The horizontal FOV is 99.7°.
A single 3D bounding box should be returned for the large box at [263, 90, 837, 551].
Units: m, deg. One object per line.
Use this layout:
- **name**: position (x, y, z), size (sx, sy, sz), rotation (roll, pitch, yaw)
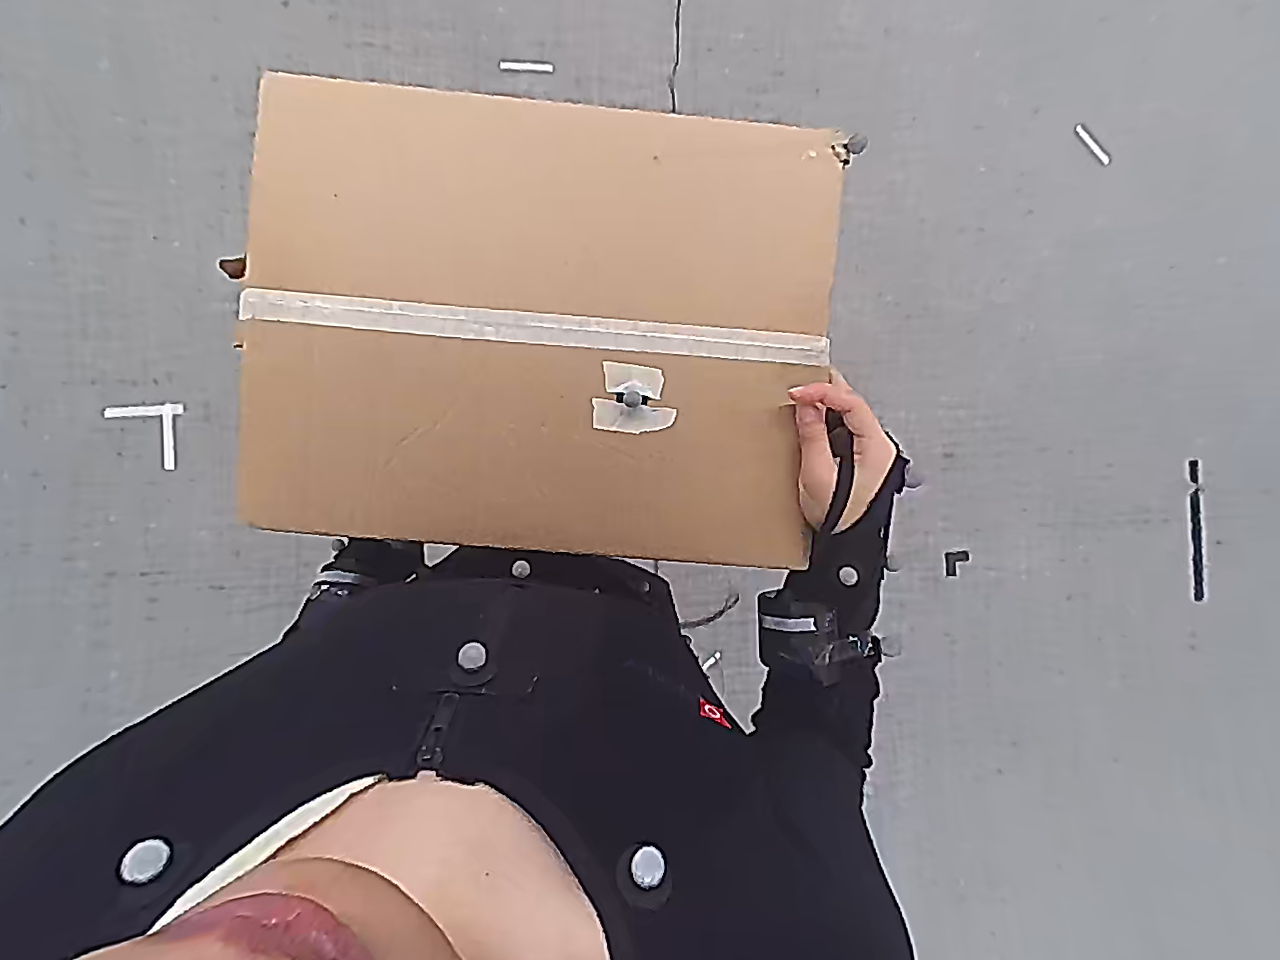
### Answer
- **large box**: position (-0.070, -0.114, 0.537), size (0.408, 0.320, 0.320), rotation (4, 93, -3)
